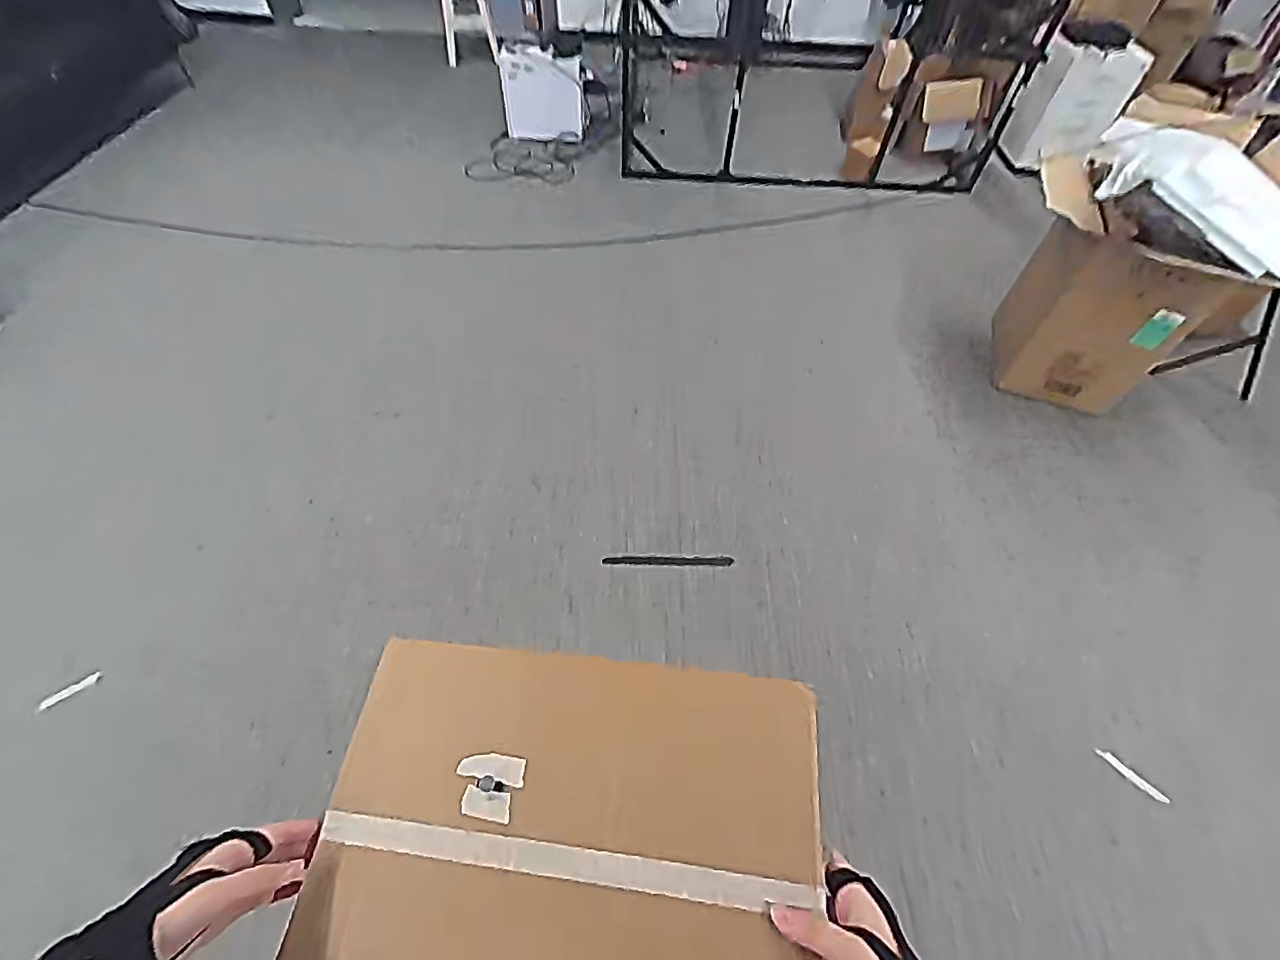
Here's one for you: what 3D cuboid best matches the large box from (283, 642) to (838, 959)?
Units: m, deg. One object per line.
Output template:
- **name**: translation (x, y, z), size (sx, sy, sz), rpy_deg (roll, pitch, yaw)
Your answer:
- **large box**: translation (-0.039, 0.368, 0.536), size (0.408, 0.320, 0.320), rpy_deg (2, 58, 10)
